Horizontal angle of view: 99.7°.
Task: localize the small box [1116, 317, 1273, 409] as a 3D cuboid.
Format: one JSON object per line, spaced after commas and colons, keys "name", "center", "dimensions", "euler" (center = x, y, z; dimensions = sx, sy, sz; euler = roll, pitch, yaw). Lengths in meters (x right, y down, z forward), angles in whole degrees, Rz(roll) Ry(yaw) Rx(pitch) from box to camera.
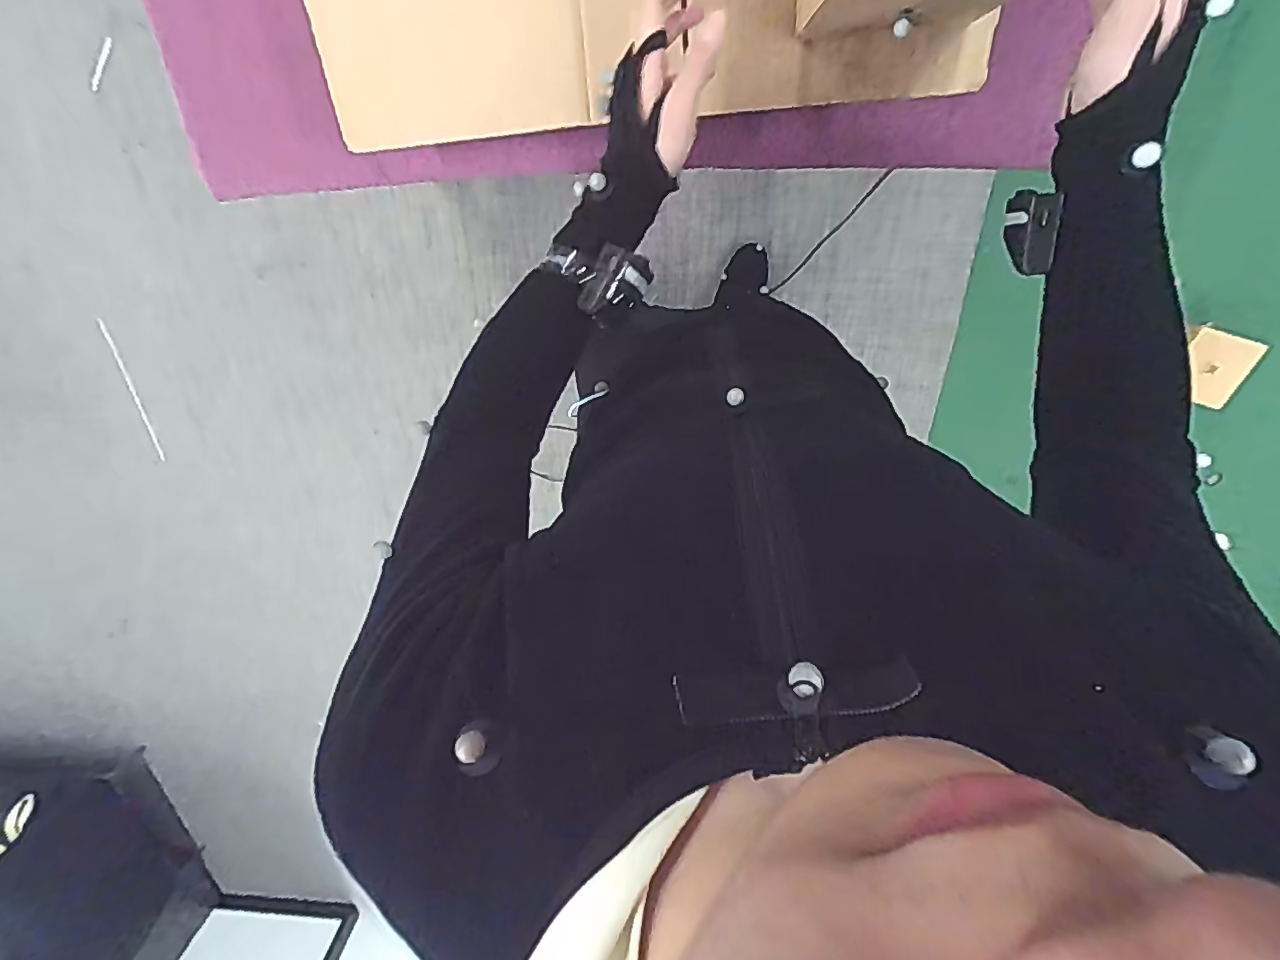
{"name": "small box", "center": [1.383, -0.301, 1.365], "dimensions": [0.179, 0.176, 0.168], "euler": [16, 116, -1]}
